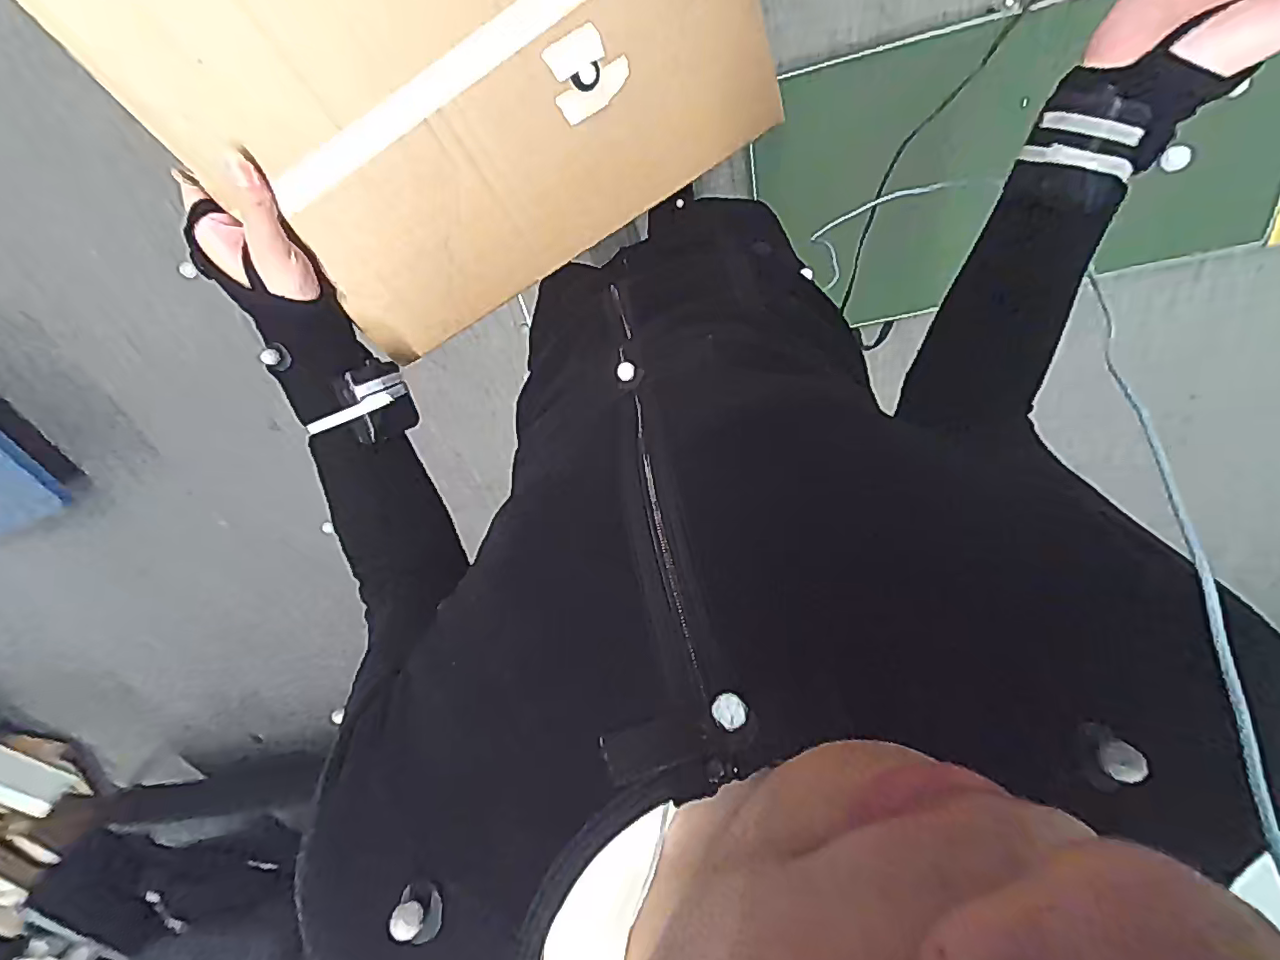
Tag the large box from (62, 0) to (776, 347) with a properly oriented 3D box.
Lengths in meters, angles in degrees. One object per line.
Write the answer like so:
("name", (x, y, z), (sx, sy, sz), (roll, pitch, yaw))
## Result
("large box", (-0.159, -0.404, 0.486), (0.408, 0.320, 0.320), (-30, 135, 6))
